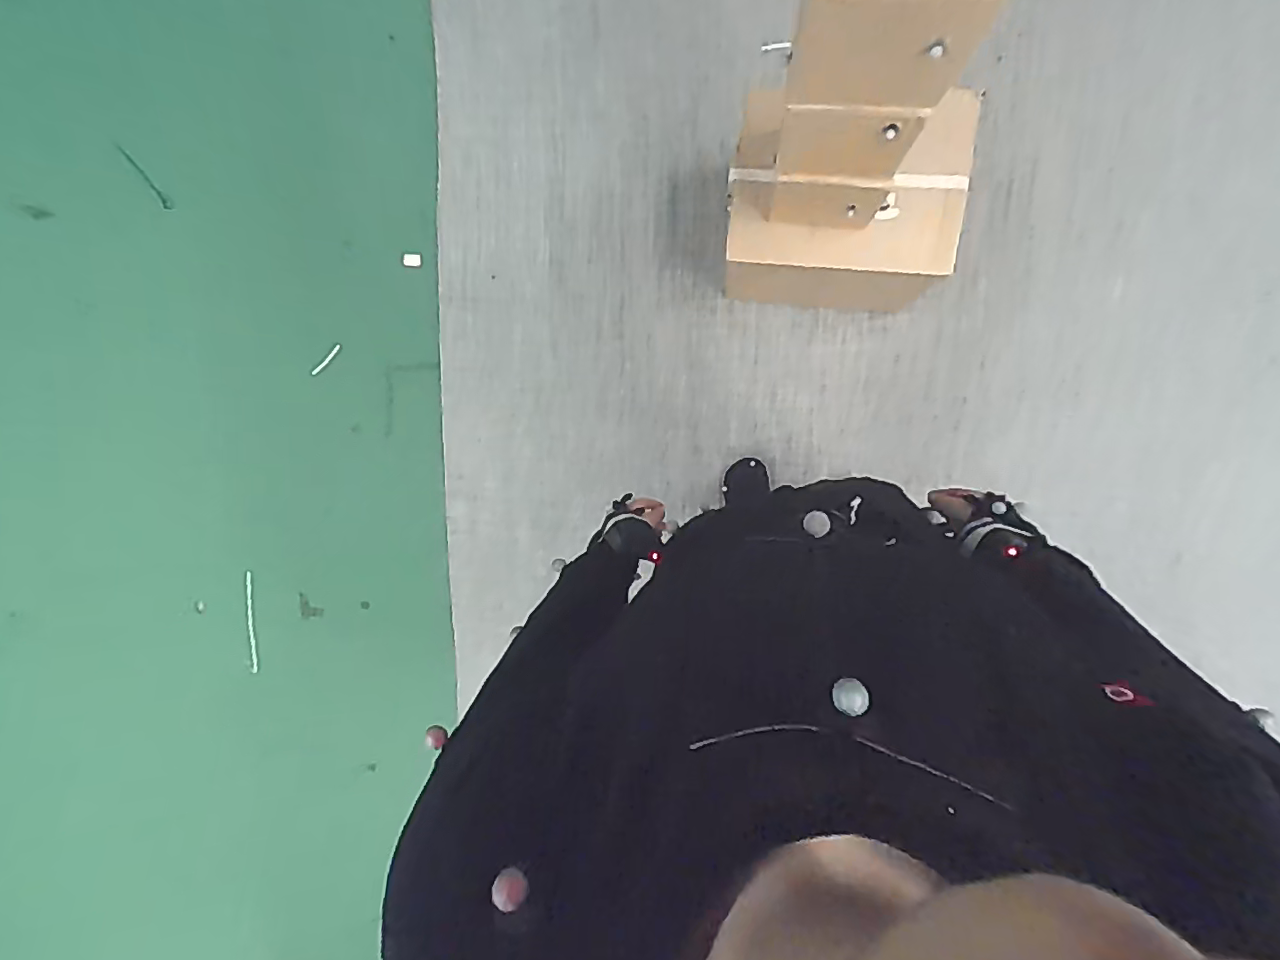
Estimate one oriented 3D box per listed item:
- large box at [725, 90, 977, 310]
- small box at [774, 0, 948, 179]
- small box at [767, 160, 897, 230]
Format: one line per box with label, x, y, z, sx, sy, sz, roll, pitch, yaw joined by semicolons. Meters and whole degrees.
large box;0.391;-0.548;1.115;0.408;0.320;0.320;6;97;7
small box;0.281;-0.527;0.723;0.179;0.176;0.168;7;95;8
small box;0.311;-0.525;0.883;0.179;0.176;0.168;8;95;10
